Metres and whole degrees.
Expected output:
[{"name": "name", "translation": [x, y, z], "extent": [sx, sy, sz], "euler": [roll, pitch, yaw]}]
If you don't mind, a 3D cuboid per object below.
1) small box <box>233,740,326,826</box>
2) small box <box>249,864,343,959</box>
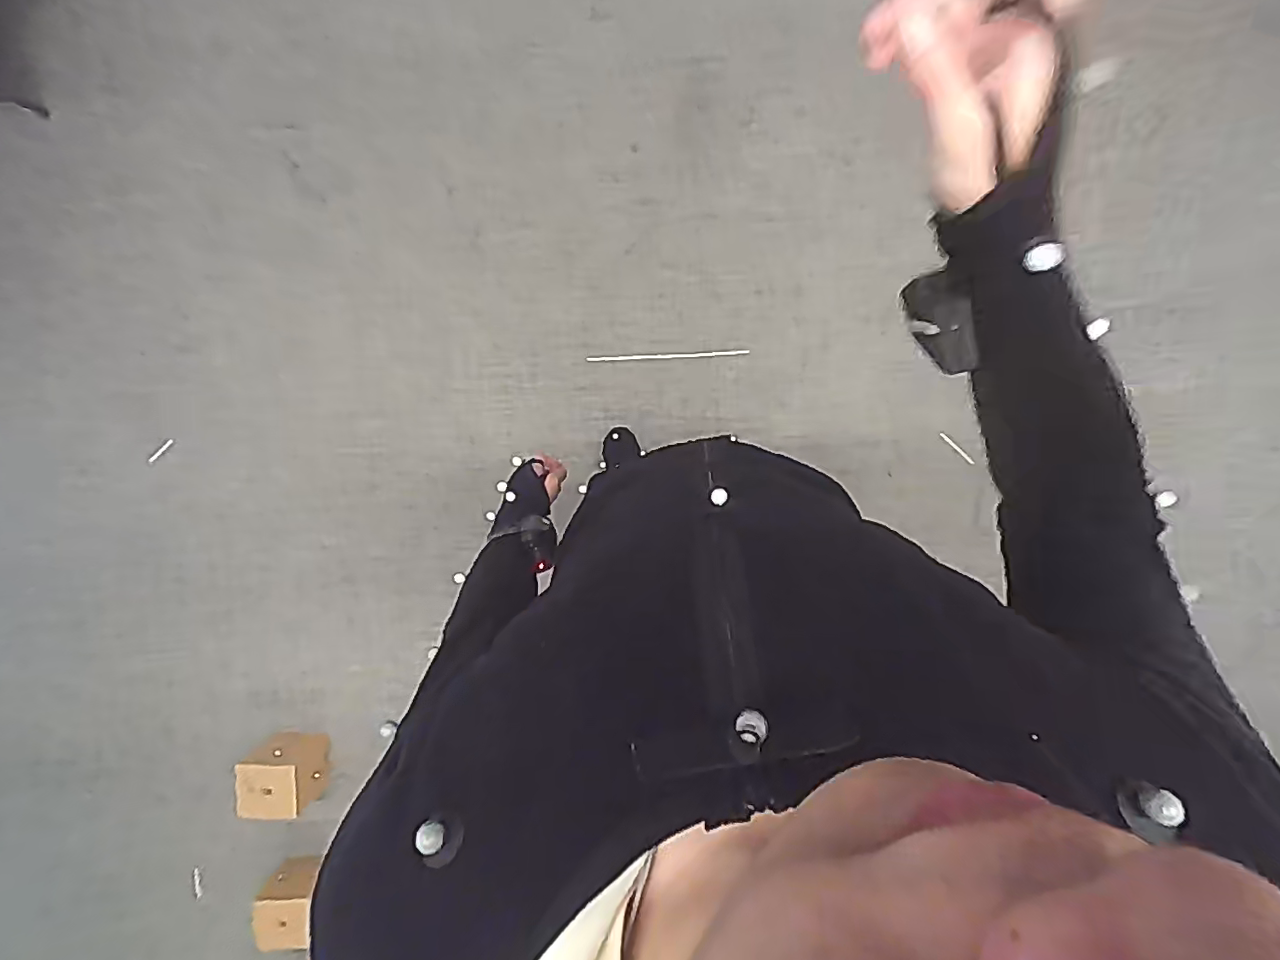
[{"name": "small box", "translation": [-1.065, 0.898, 1.614], "extent": [0.179, 0.176, 0.168], "euler": [1, 94, 0]}, {"name": "small box", "translation": [-1.044, 1.315, 1.651], "extent": [0.179, 0.176, 0.168], "euler": [-4, 95, 1]}]
